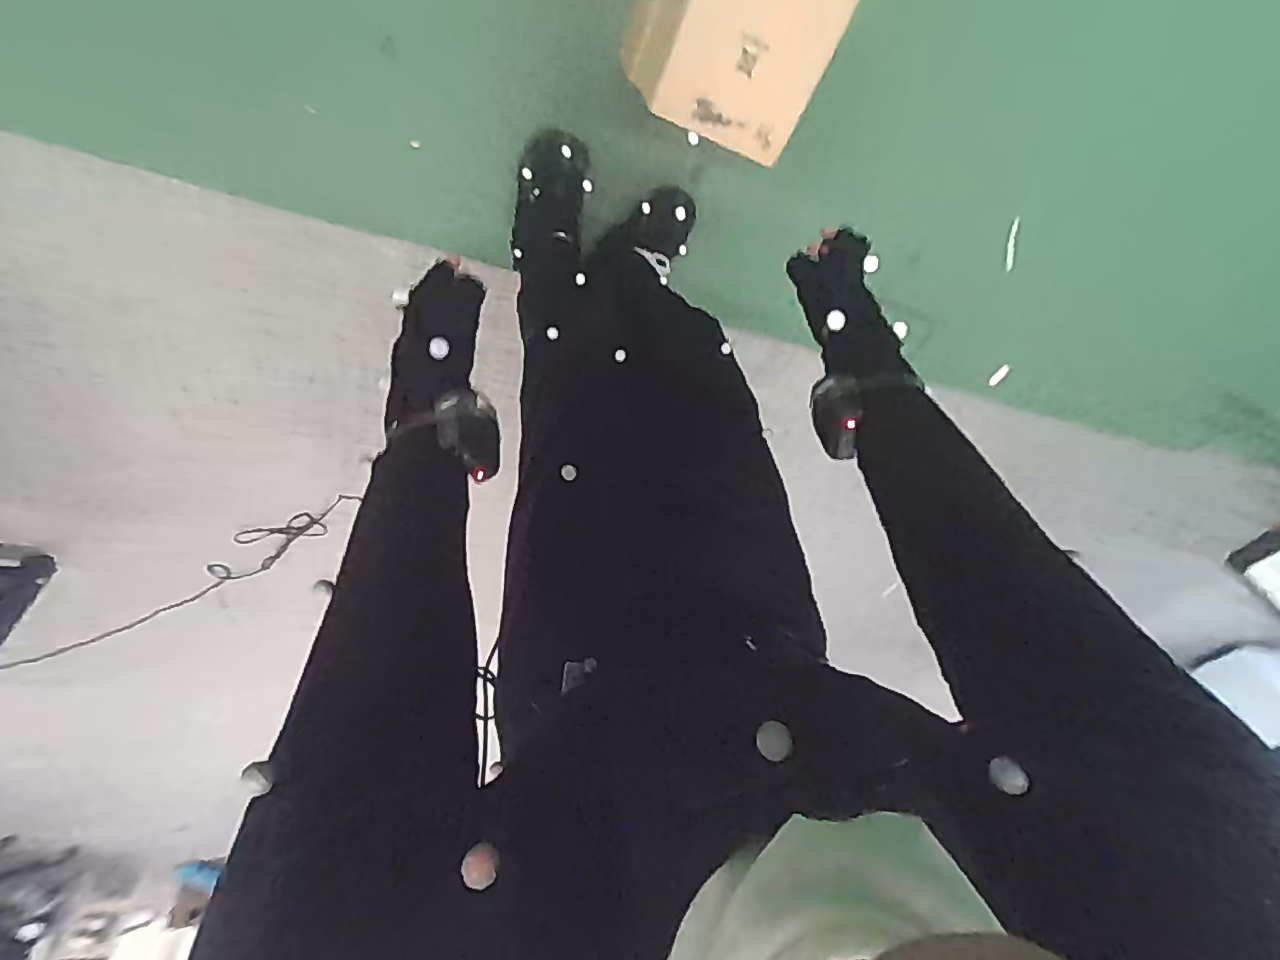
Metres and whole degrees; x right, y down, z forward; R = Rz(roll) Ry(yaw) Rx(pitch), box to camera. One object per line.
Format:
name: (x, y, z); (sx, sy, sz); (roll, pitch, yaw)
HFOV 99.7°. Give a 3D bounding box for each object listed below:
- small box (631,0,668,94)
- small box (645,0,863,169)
small box: (0.092, -0.626, 0.748); (0.168, 0.176, 0.179); (12, 134, -20)
small box: (0.115, -0.511, 0.634); (0.168, 0.176, 0.179); (12, 132, -20)
